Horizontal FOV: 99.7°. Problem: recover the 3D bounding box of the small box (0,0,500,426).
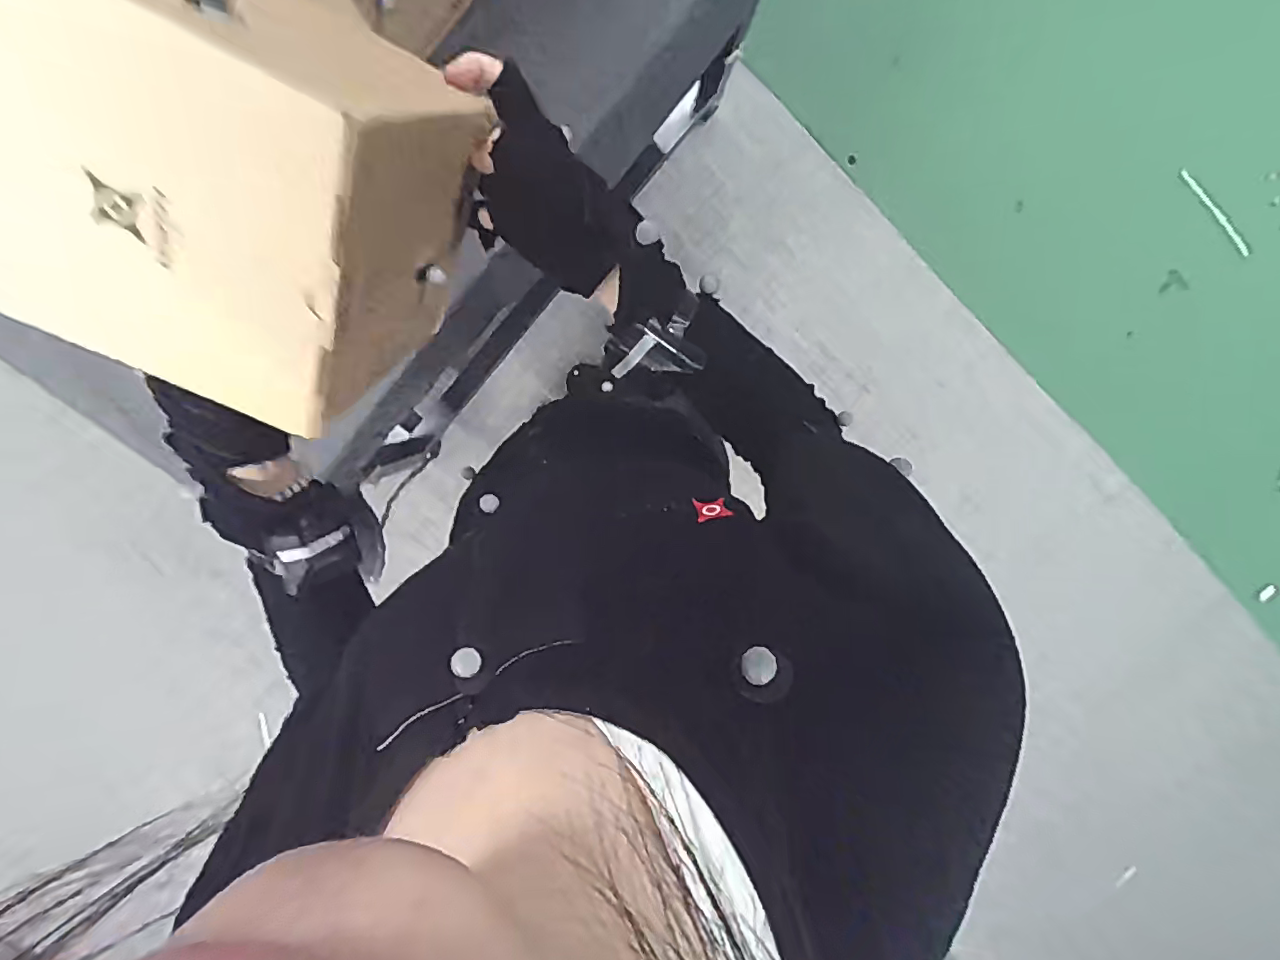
[{"bbox_3d":[-0.202,-0.166,0.302,0.179,0.176,0.168,24,126,-12],"label":"small box"}]
